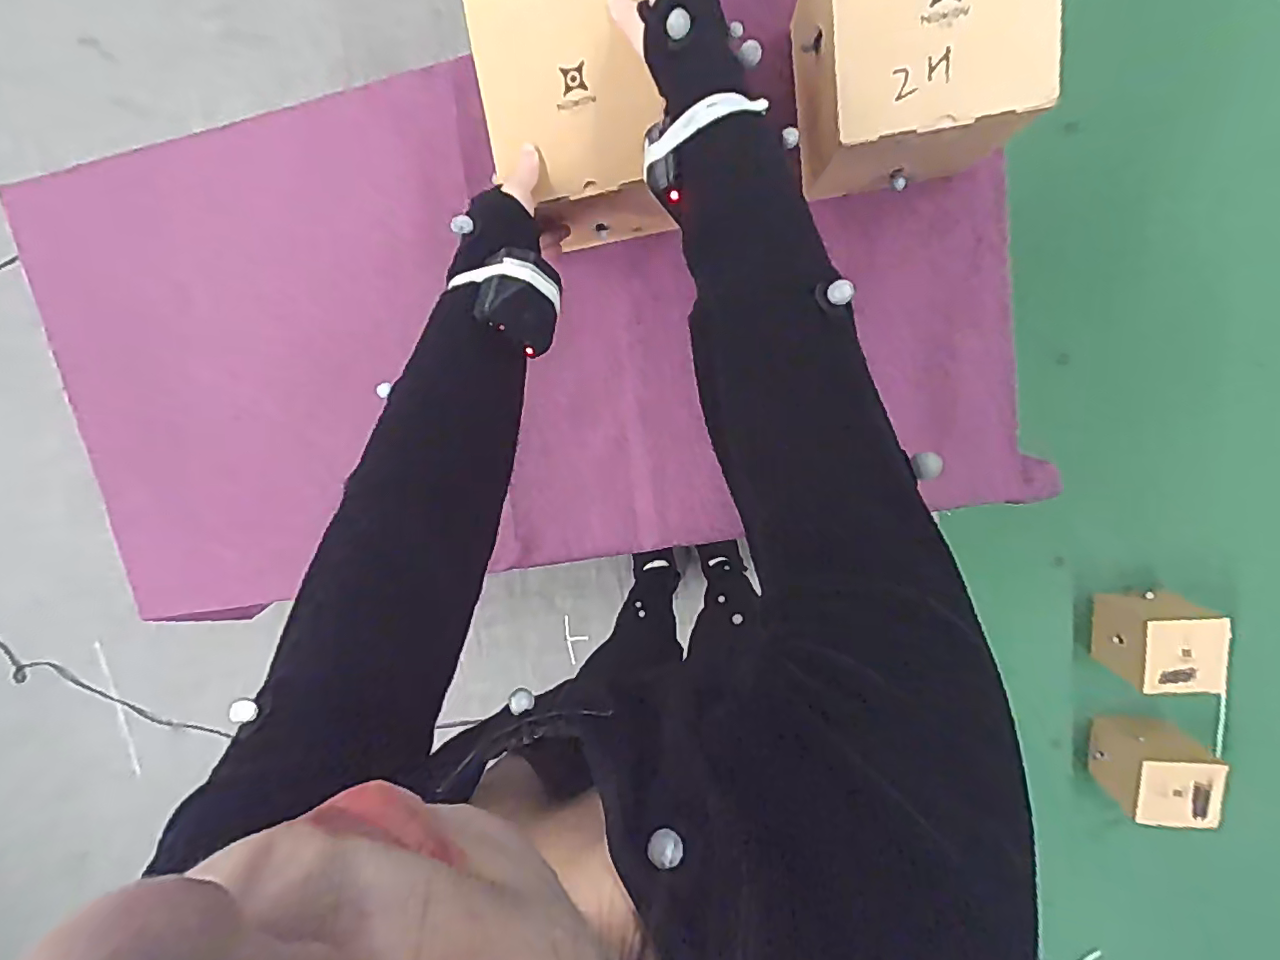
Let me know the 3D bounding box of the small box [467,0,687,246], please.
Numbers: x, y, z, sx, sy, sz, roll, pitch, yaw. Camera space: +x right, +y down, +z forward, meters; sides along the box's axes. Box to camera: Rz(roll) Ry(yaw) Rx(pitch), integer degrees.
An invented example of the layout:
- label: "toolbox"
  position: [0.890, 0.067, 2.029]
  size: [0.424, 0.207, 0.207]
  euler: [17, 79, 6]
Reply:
- label: "small box"
  position: [-0.046, -0.353, 0.537]
  size: [0.168, 0.176, 0.179]
  euler: [-8, 101, 9]

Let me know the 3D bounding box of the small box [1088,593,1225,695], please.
- label: "small box"
  position: [1.194, 0.378, 1.266]
  size: [0.168, 0.176, 0.179]
  euler: [-3, 99, 7]

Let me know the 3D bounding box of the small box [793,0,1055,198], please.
- label: "small box"
  position: [0.238, -0.383, 0.492]
  size: [0.168, 0.176, 0.179]
  euler: [-6, 103, 9]
